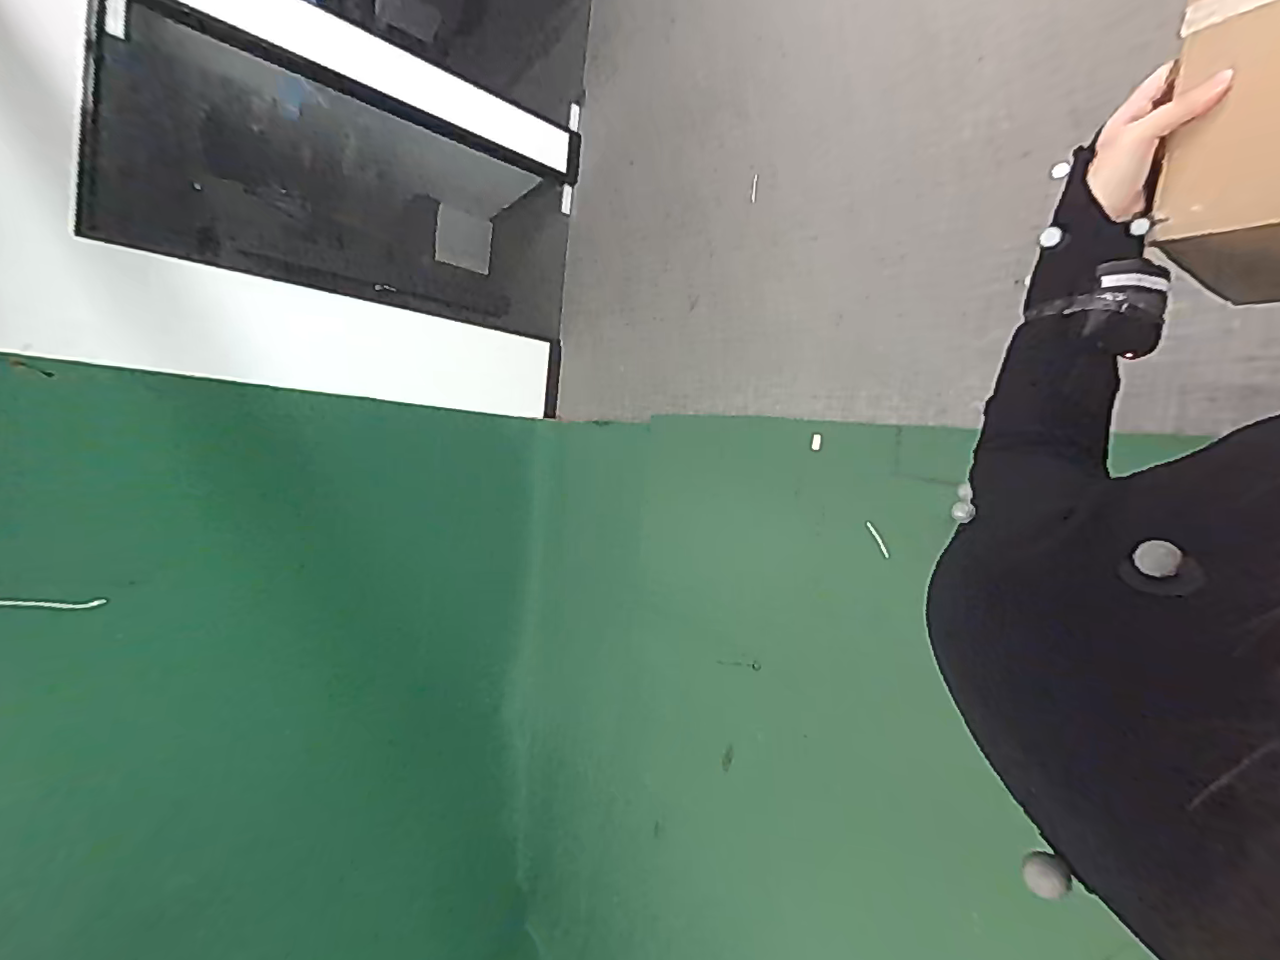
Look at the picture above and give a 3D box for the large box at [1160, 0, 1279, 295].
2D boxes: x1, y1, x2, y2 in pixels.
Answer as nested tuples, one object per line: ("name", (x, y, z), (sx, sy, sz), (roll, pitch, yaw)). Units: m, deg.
("large box", (0.657, -0.321, 0.330), (0.408, 0.320, 0.320), (14, 102, 57))
